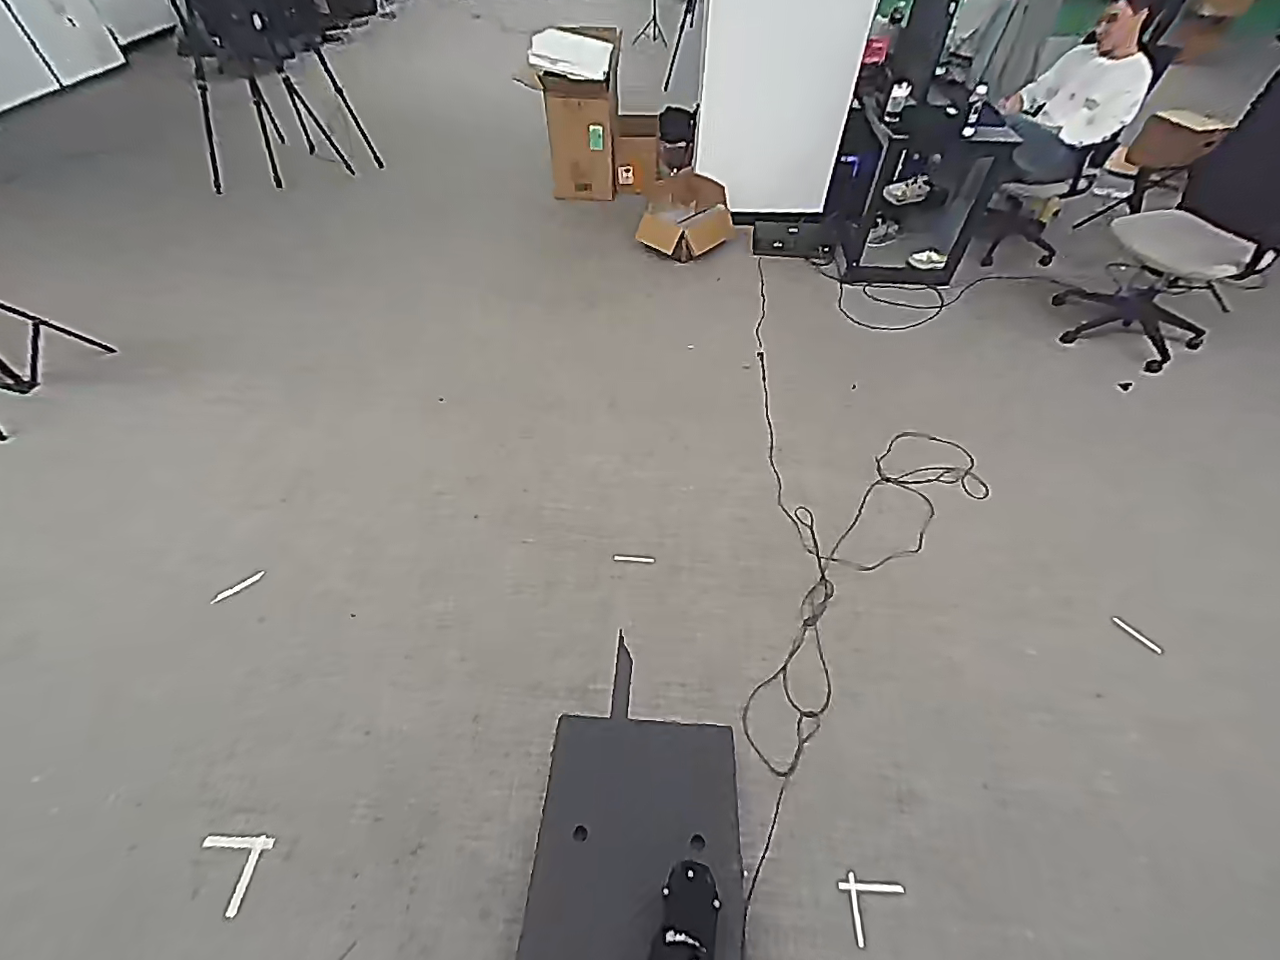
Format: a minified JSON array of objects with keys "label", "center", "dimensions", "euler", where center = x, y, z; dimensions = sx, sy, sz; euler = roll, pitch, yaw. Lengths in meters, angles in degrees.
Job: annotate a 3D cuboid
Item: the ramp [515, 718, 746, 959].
[{"label":"ramp","center":[-0.021,1.007,1.147],"dimensions":[0.509,0.206,0.991],"euler":[1,50,2]}]
